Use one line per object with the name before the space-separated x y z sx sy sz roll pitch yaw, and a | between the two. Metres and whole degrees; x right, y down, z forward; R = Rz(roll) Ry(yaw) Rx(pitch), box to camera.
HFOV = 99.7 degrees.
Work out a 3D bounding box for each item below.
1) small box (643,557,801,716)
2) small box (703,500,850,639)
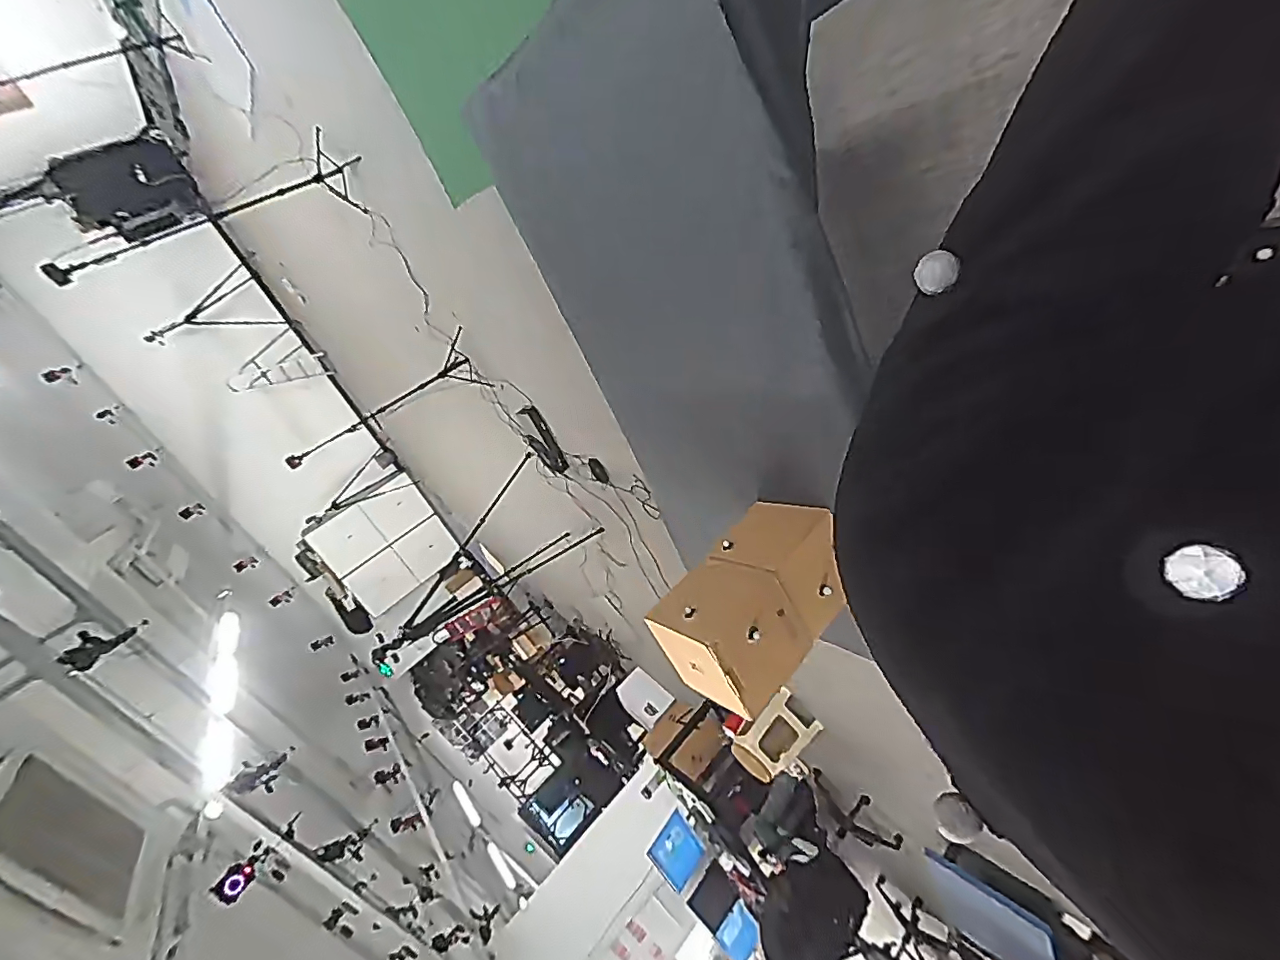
small box | 0.143 0.247 0.904 0.179 0.176 0.168 4 128 58
small box | 0.253 0.150 0.975 0.179 0.176 0.168 4 130 57
